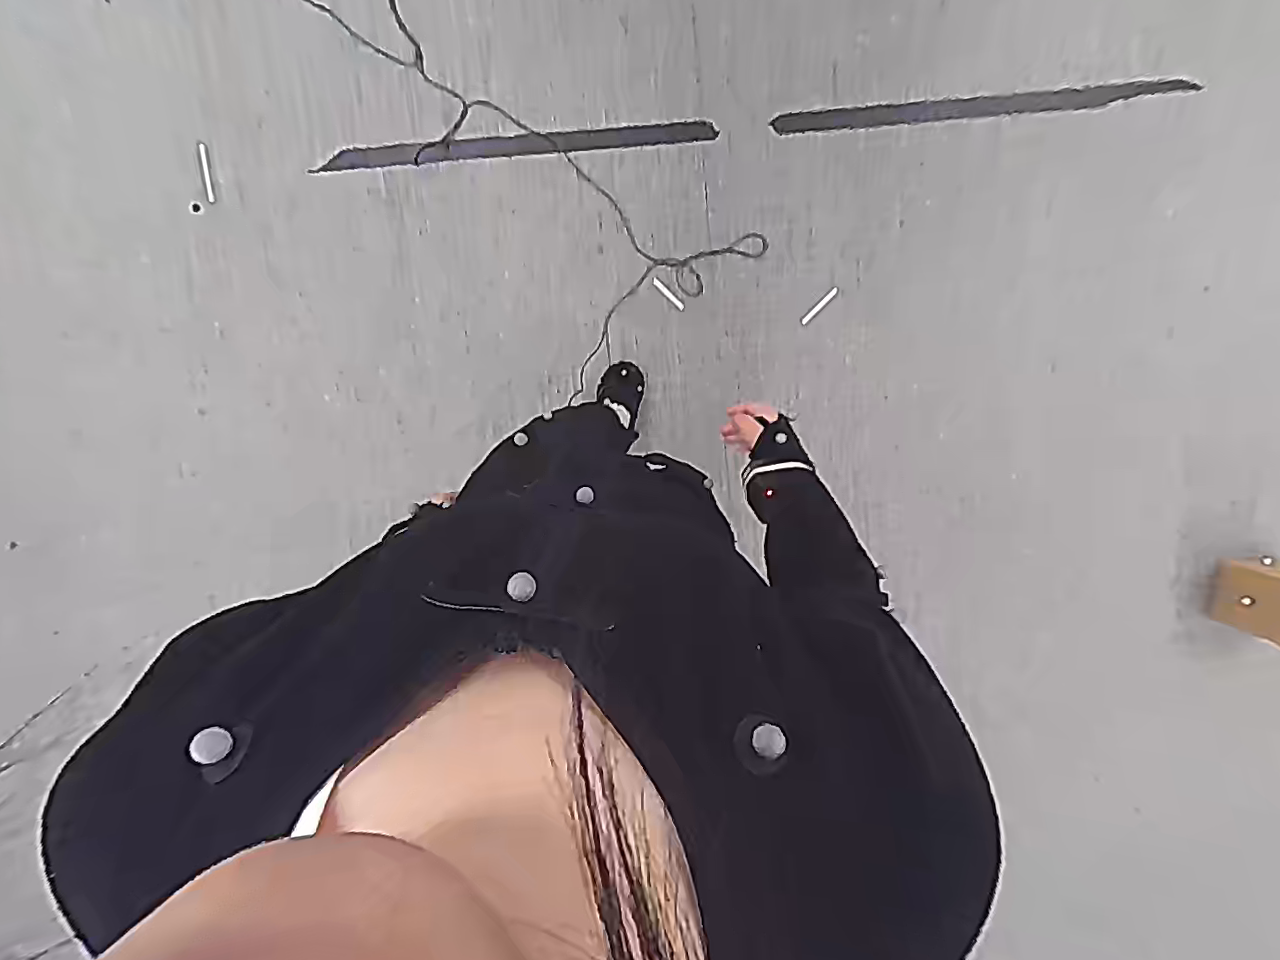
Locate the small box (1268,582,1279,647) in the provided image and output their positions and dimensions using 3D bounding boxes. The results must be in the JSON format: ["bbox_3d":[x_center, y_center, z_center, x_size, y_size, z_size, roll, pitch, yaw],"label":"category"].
[{"bbox_3d":[1.676,0.349,1.288,0.168,0.176,0.179,-1,98,0],"label":"small box"}]
